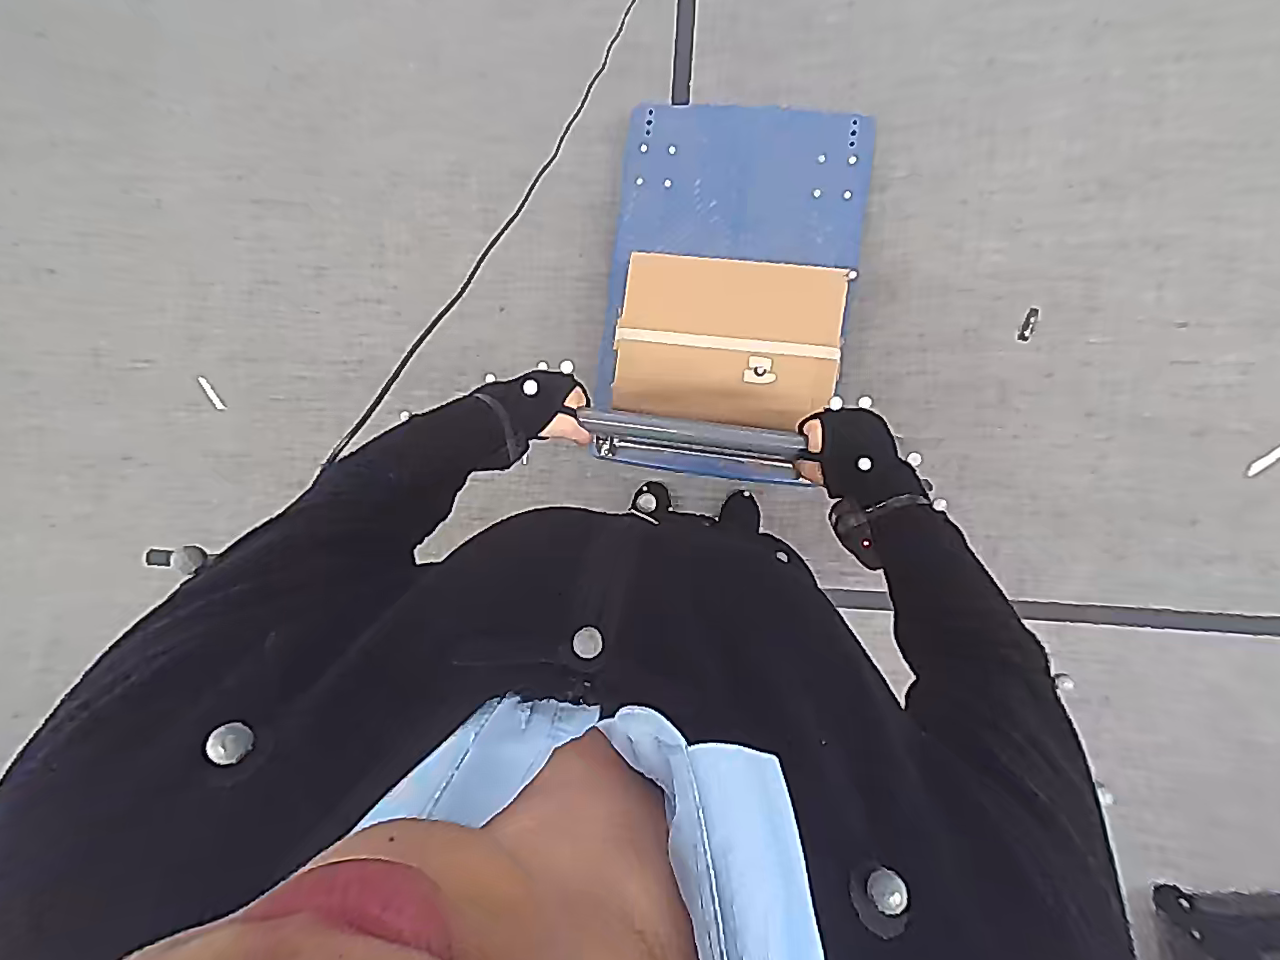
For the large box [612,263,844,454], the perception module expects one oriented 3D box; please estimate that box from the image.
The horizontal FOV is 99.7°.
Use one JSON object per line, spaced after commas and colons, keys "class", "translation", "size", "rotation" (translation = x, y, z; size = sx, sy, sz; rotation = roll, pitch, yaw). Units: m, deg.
{"class": "large box", "translation": [0.172, -0.236, 1.151], "size": [0.408, 0.320, 0.320], "rotation": [8, 91, 6]}
